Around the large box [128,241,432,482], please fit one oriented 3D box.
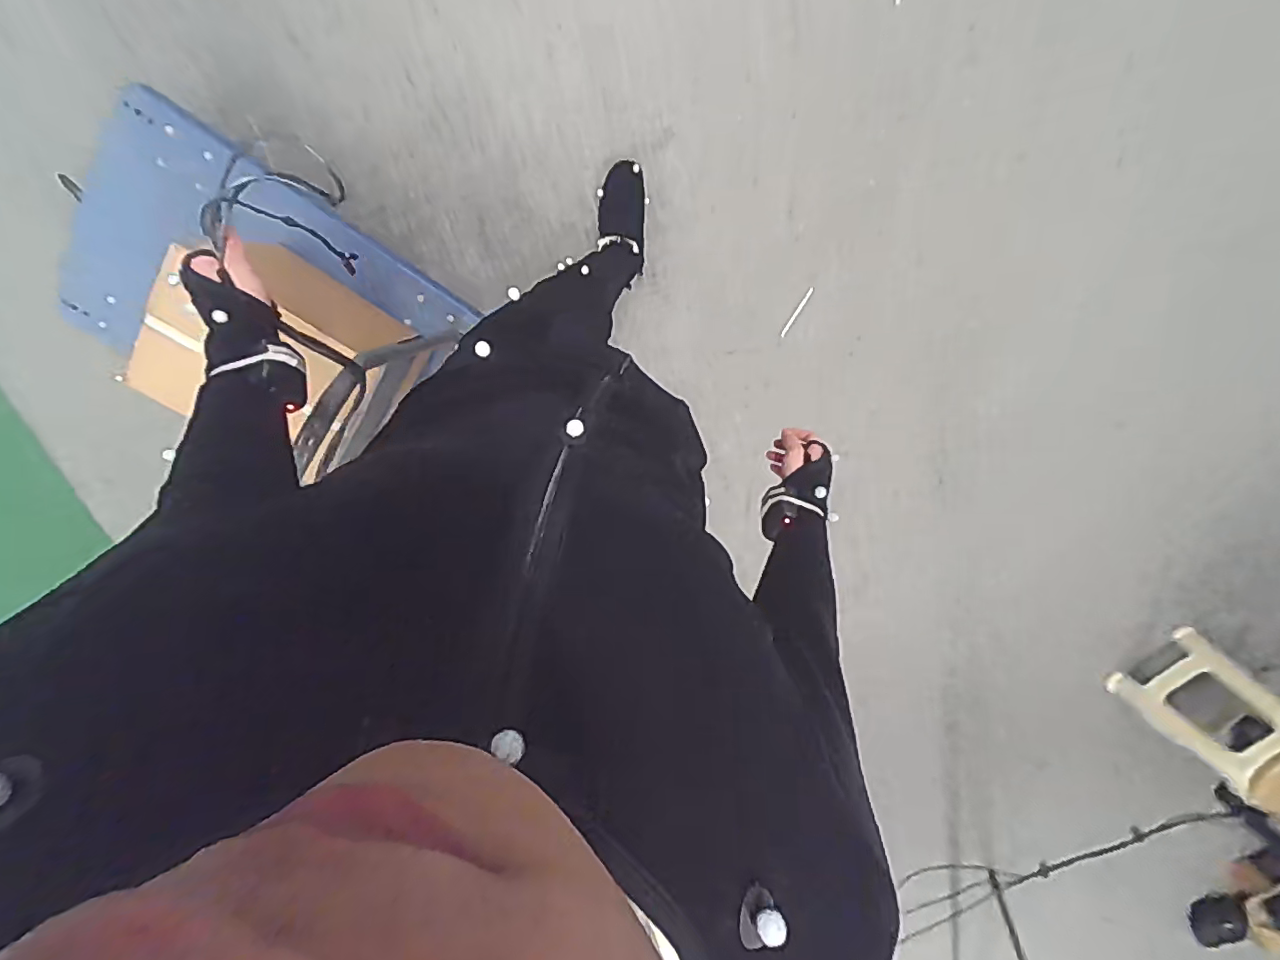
[{"bbox_3d":[-0.745,-0.267,1.180,0.408,0.320,0.320,33,109,-14],"label":"large box"}]
